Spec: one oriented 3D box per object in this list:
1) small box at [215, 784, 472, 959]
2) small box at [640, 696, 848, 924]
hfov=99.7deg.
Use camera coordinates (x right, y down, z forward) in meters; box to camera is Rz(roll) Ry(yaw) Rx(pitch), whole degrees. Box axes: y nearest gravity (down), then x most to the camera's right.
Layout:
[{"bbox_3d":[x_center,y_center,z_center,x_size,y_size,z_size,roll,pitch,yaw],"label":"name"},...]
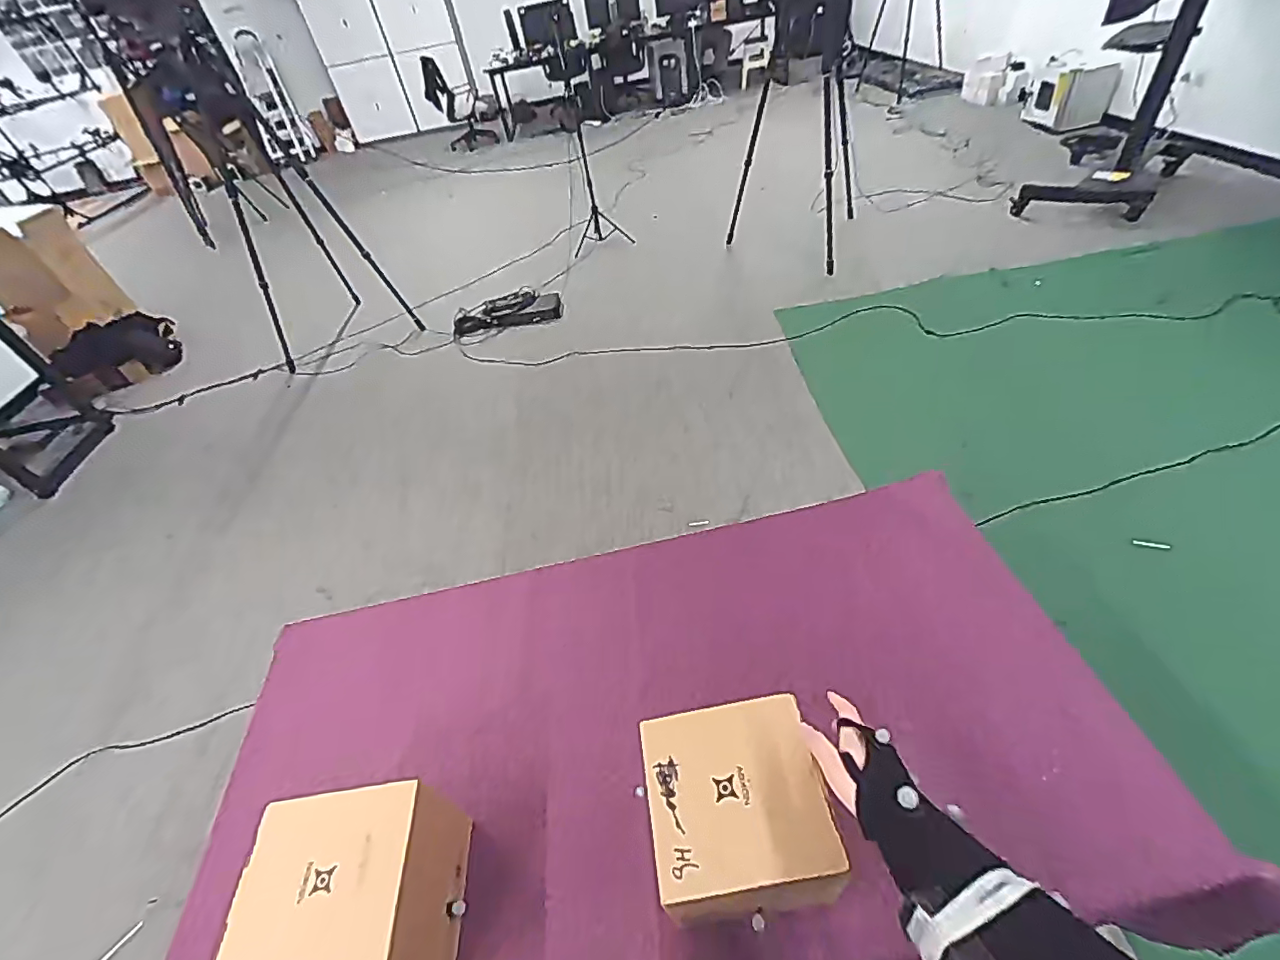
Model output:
[{"bbox_3d":[-0.307,0.460,0.593,0.179,0.176,0.168,-10,45,1],"label":"small box"},{"bbox_3d":[0.104,0.365,0.598,0.179,0.176,0.168,-11,43,0],"label":"small box"}]
